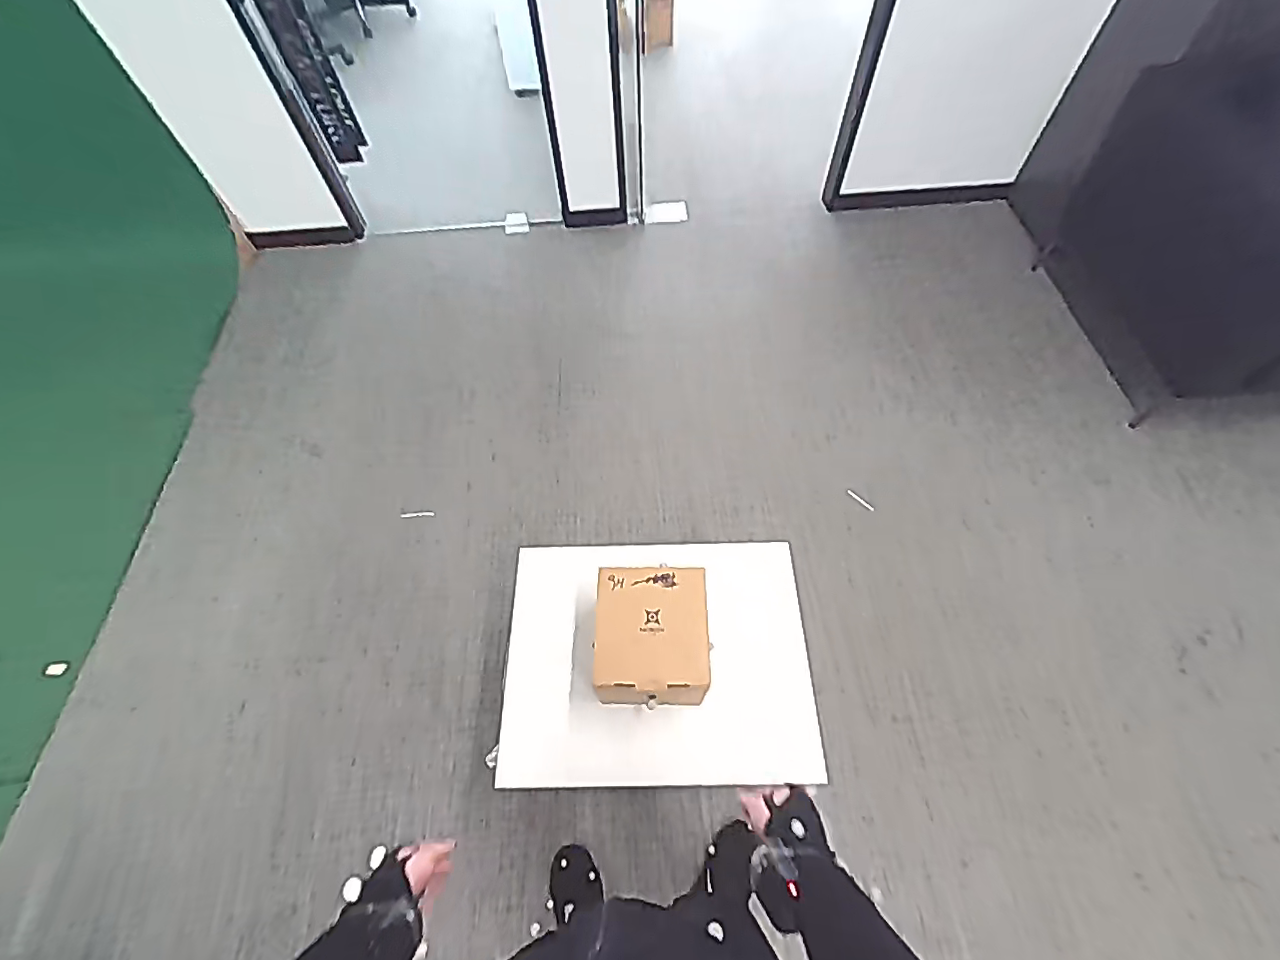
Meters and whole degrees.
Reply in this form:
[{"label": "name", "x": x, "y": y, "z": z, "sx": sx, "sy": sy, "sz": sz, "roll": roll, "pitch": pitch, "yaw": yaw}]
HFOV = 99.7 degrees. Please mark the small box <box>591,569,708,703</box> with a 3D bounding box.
[{"label": "small box", "x": 0.013, "y": 0.253, "z": 0.859, "sx": 0.168, "sy": 0.176, "sz": 0.179, "roll": 0, "pitch": 59, "yaw": -2}]
